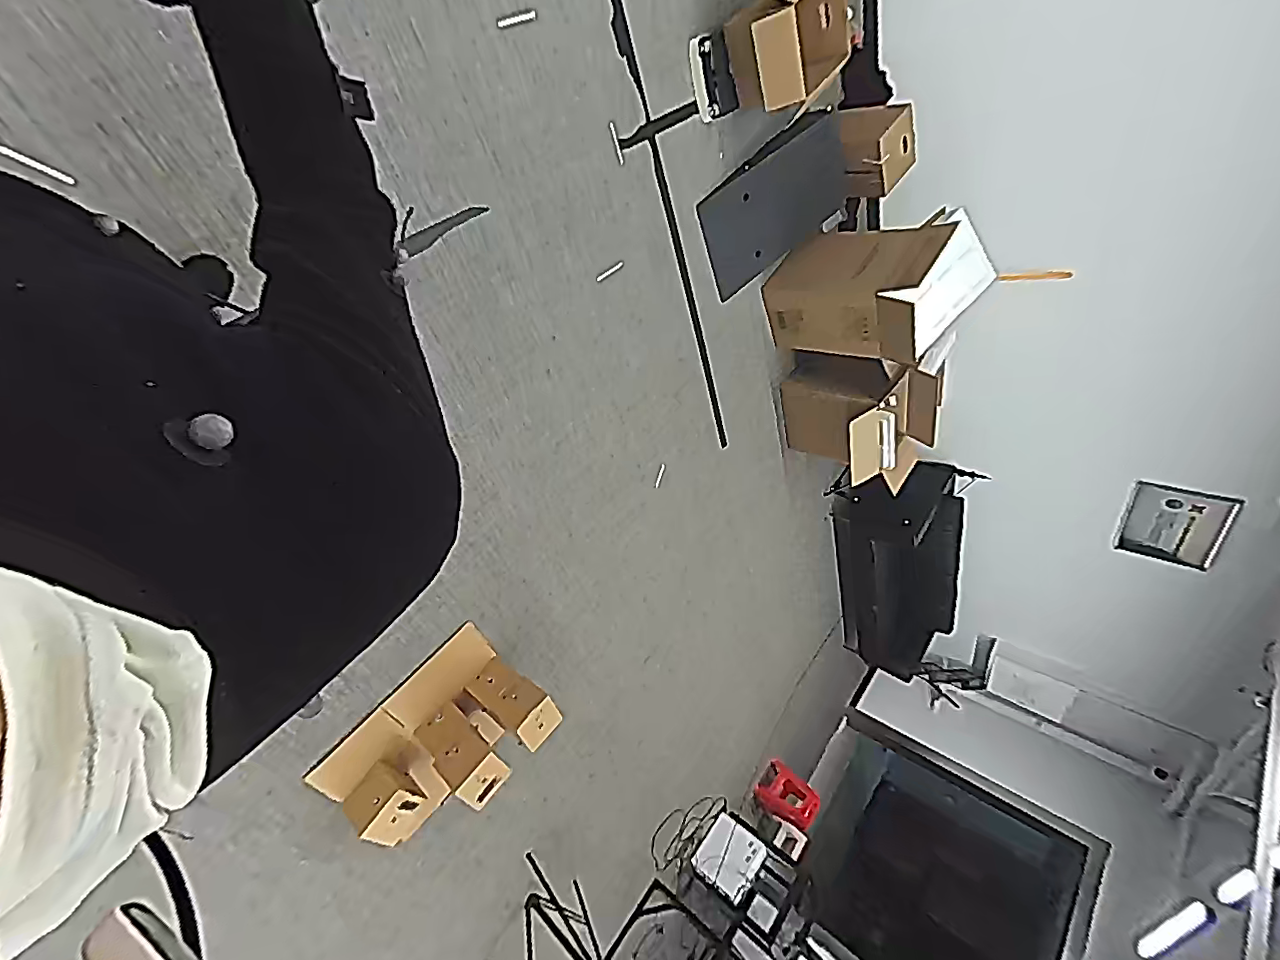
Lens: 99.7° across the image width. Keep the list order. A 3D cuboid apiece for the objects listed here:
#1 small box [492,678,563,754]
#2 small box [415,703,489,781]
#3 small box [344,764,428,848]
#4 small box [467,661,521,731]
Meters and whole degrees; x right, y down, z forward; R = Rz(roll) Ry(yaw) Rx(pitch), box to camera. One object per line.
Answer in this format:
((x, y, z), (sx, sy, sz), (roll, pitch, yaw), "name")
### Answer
((-0.428, 0.890, 2.054), (0.168, 0.176, 0.179), (-43, 133, -31), "small box")
((-0.706, 0.976, 2.030), (0.168, 0.176, 0.179), (-42, 132, -30), "small box")
((-0.887, 1.130, 1.882), (0.179, 0.176, 0.168), (-52, 137, -22), "small box")
((-0.557, 0.849, 2.150), (0.168, 0.176, 0.179), (-43, 133, -30), "small box")
